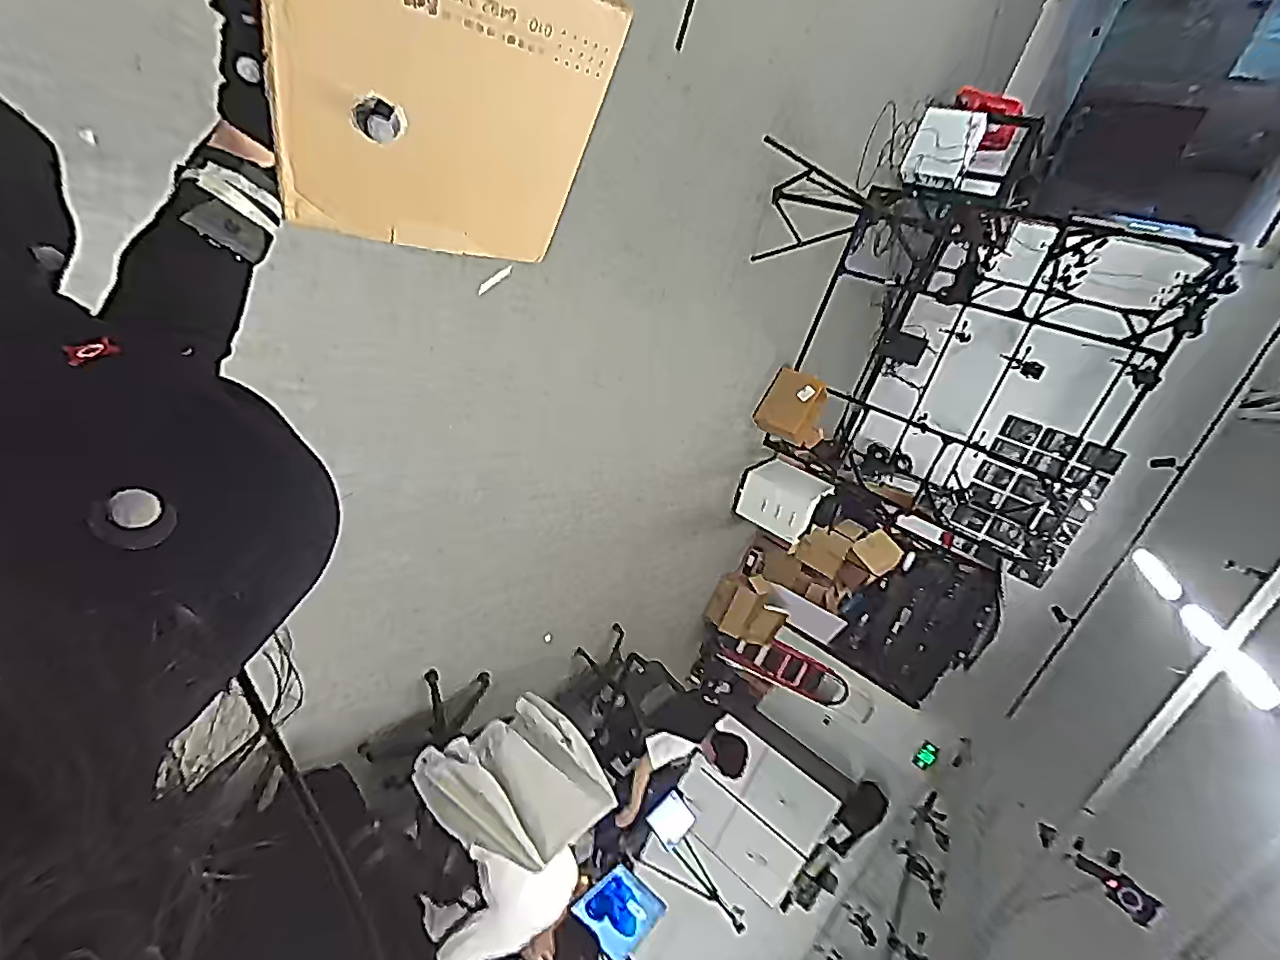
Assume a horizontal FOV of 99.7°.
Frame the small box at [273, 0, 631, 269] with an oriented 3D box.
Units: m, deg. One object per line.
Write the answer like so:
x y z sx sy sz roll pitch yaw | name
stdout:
-0.125 -0.267 0.332 0.168 0.179 0.176 -3 152 -35 | small box
